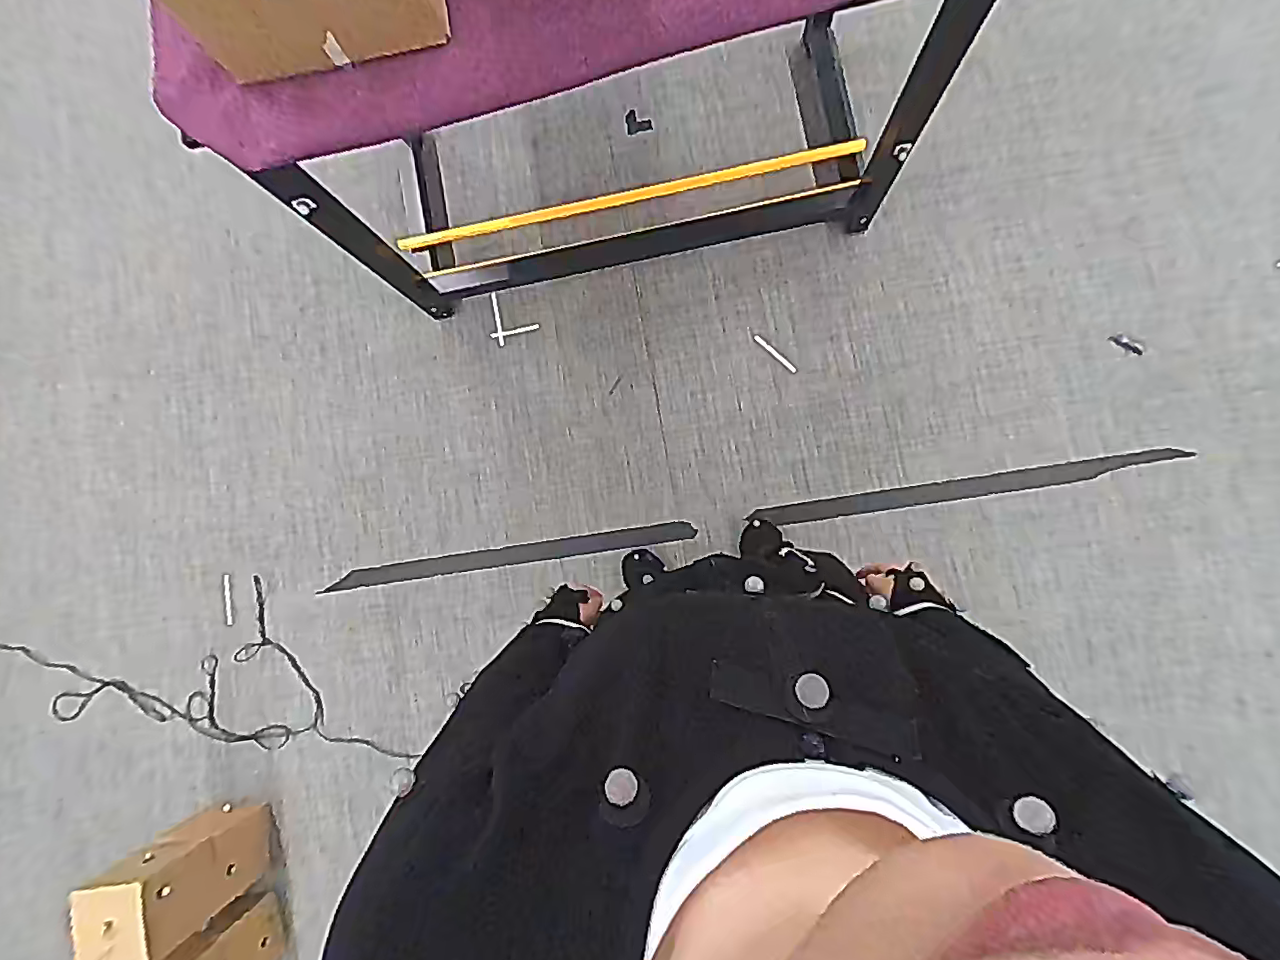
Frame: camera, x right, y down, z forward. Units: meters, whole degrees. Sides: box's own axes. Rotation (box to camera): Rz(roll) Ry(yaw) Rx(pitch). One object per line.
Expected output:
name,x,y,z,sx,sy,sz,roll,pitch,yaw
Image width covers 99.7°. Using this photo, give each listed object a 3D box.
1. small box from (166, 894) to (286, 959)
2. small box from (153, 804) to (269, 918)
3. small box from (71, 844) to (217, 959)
small box,-1.024,1.173,1.332,0.179,0.176,0.168,-17,84,4
small box,-1.063,0.943,1.350,0.168,0.176,0.179,-4,85,5
small box,-1.078,0.933,1.186,0.168,0.176,0.179,-11,86,5
